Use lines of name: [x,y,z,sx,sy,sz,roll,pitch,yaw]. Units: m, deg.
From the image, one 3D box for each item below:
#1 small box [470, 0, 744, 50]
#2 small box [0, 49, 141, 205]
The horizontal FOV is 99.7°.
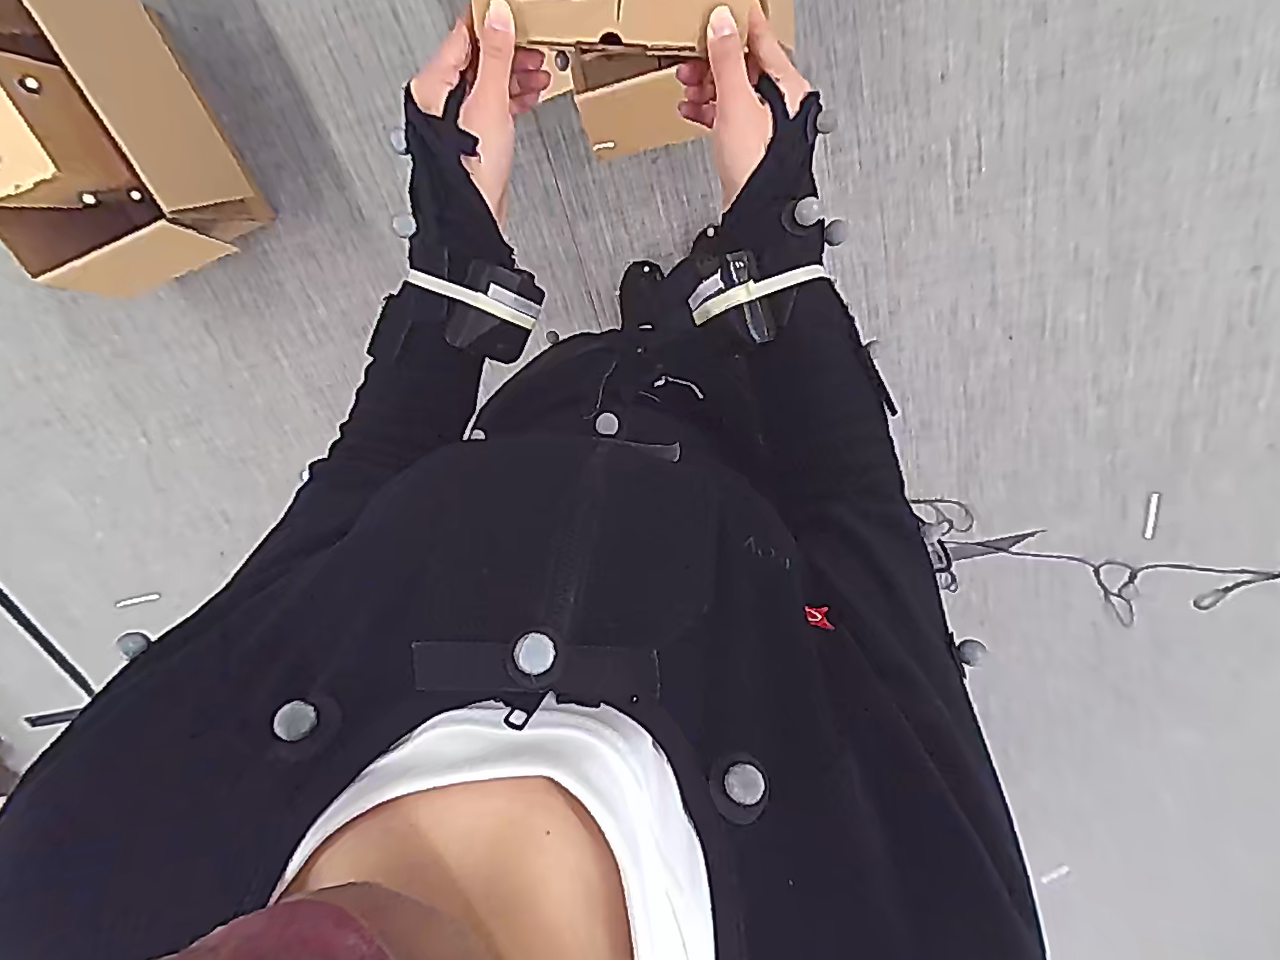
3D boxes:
small box: [-0.013,-0.384,0.337,0.168,0.176,0.179,3,127,0]
small box: [-1.023,-0.582,0.910,0.168,0.176,0.179,-14,114,9]
